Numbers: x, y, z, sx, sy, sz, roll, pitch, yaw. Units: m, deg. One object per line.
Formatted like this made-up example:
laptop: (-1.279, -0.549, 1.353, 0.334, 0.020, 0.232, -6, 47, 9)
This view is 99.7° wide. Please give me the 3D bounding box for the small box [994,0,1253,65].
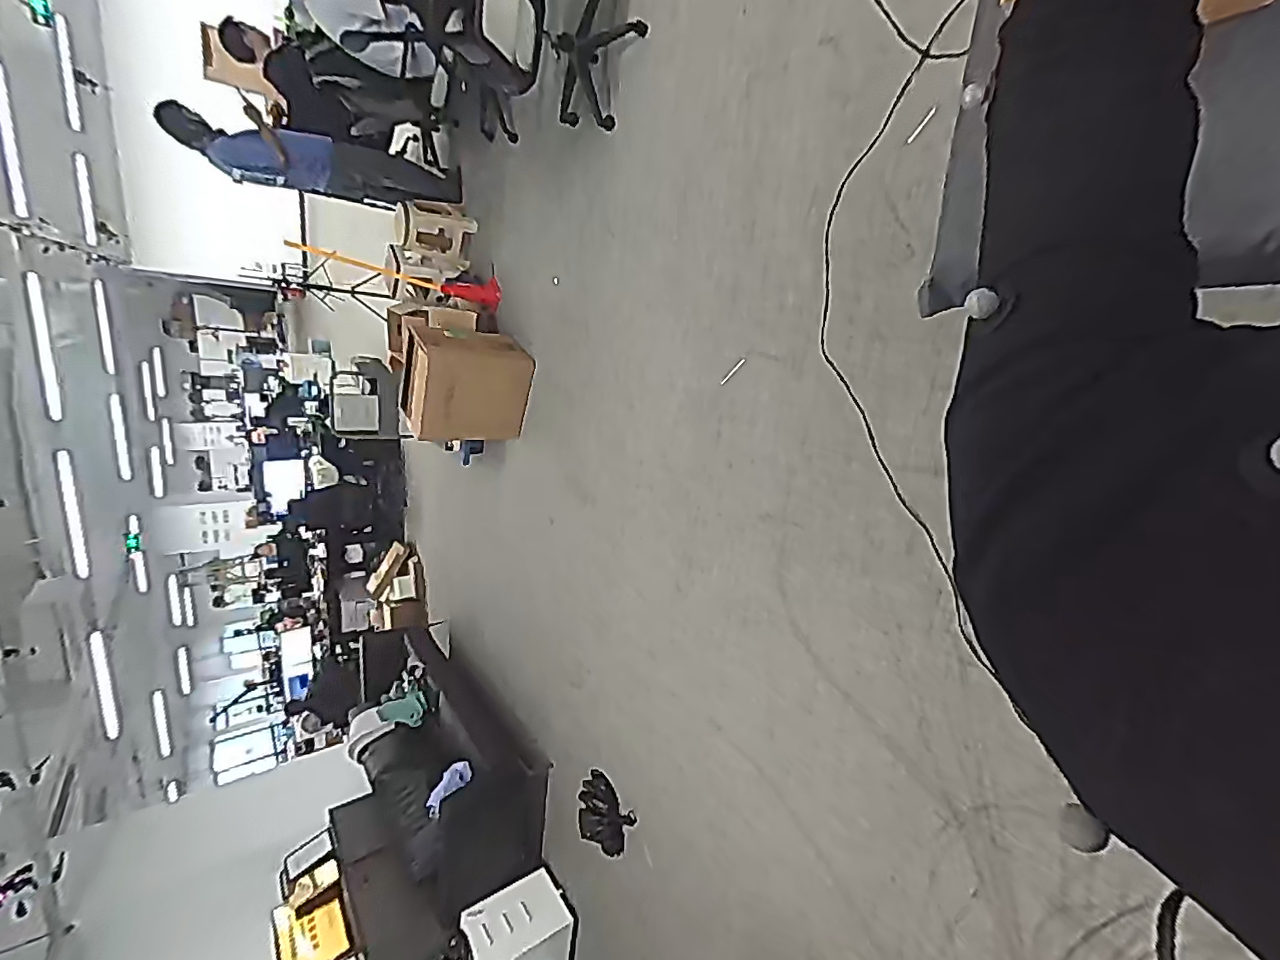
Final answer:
small box: (0.465, -0.524, 0.492, 0.179, 0.176, 0.168, 18, 109, 49)
